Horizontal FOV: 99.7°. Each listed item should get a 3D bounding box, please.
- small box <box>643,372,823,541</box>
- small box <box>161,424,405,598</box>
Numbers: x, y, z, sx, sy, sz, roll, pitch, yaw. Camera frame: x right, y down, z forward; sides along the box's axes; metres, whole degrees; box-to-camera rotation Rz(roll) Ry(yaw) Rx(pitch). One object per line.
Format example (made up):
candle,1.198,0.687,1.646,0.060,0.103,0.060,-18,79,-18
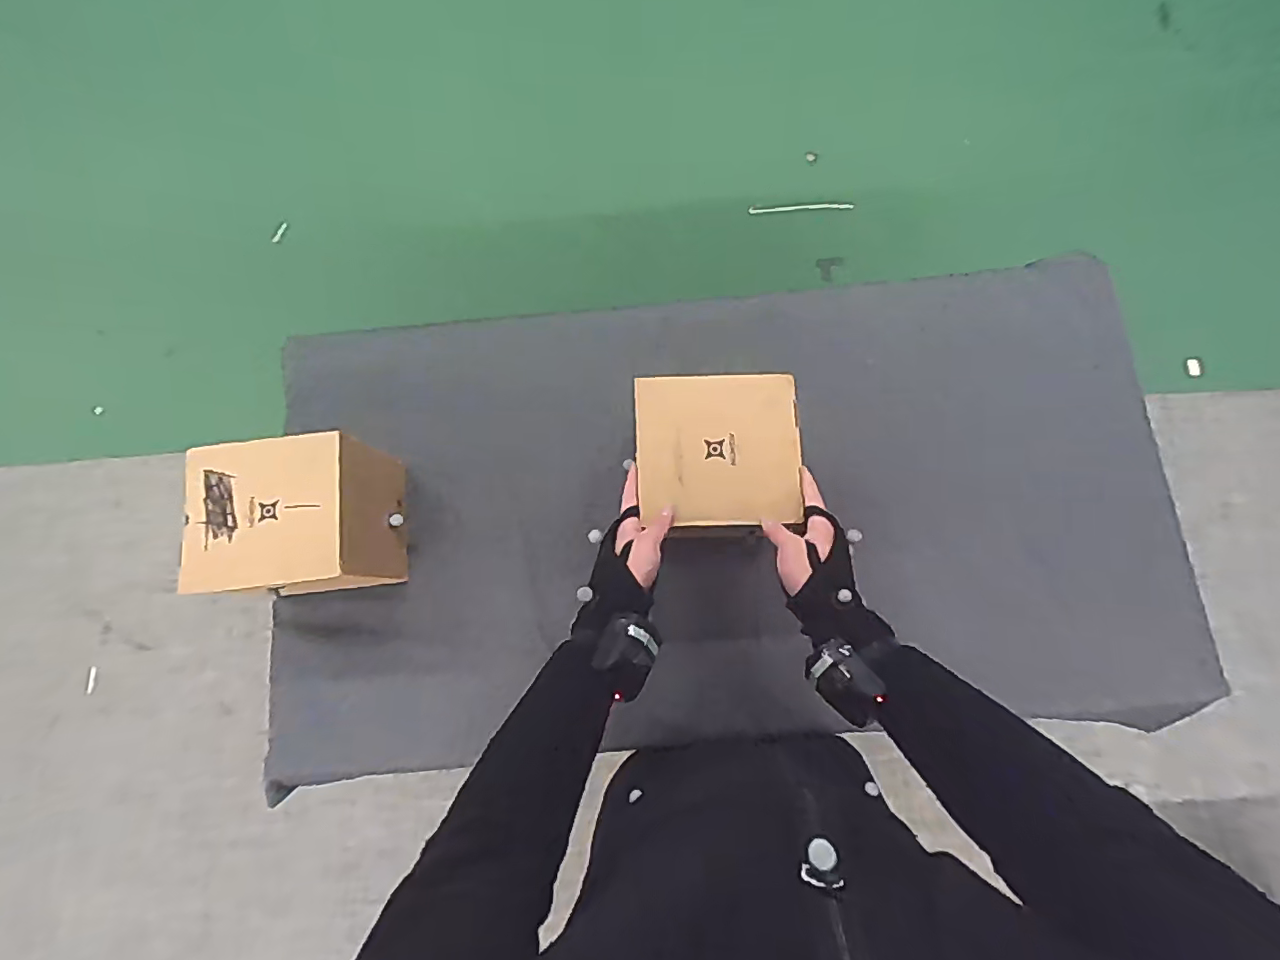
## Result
small box,0.096,-0.019,0.639,0.179,0.176,0.168,-2,78,-1
small box,-0.397,0.046,0.633,0.179,0.176,0.168,-6,77,-3
